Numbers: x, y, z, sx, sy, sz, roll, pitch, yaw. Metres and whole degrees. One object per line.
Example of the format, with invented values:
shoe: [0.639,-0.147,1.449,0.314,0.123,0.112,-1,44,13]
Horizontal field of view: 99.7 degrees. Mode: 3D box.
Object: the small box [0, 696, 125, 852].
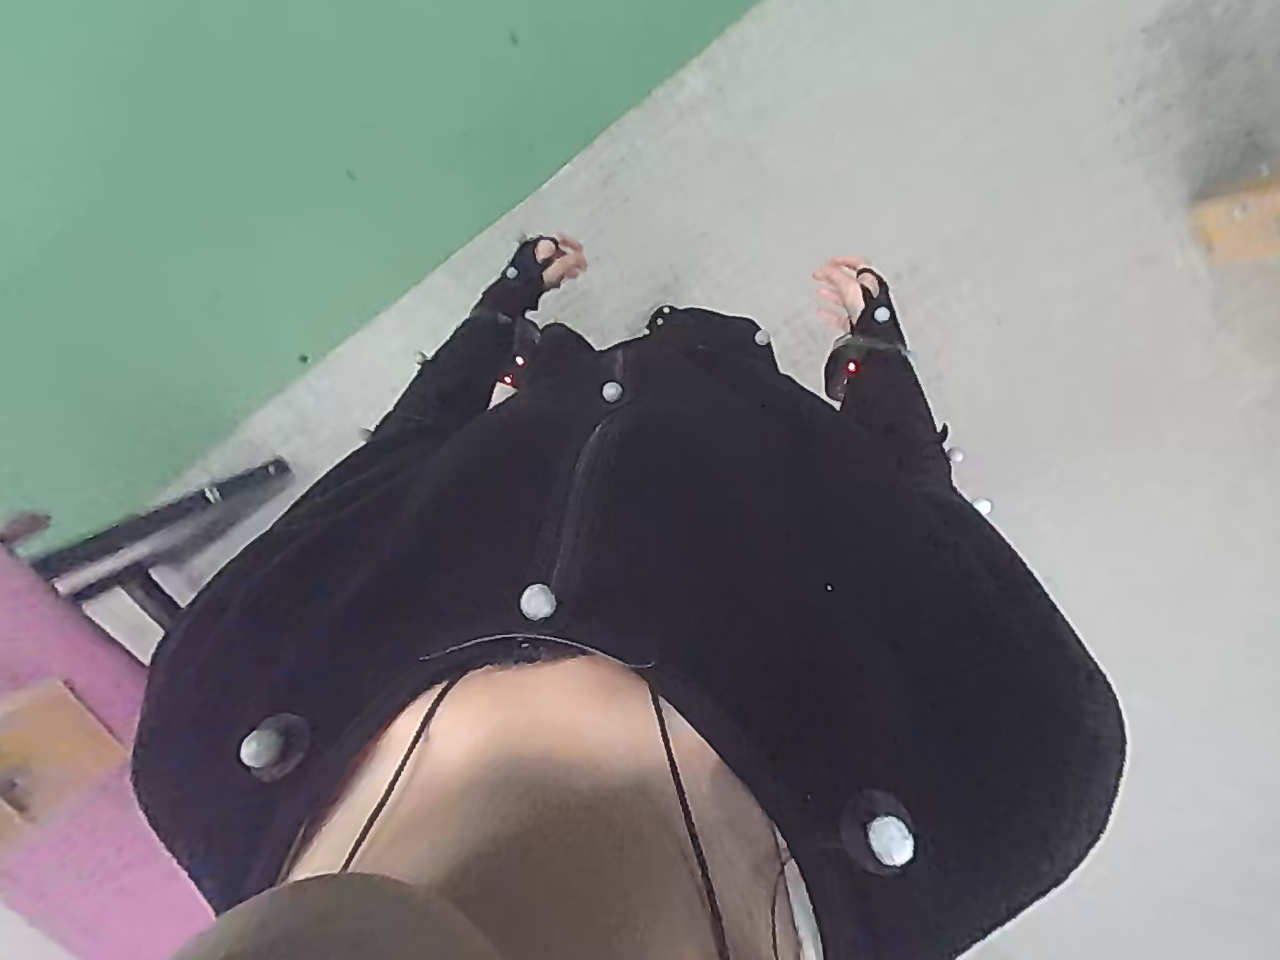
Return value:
small box: [-1.010,0.475,0.865,0.168,0.176,0.179,-22,107,10]
